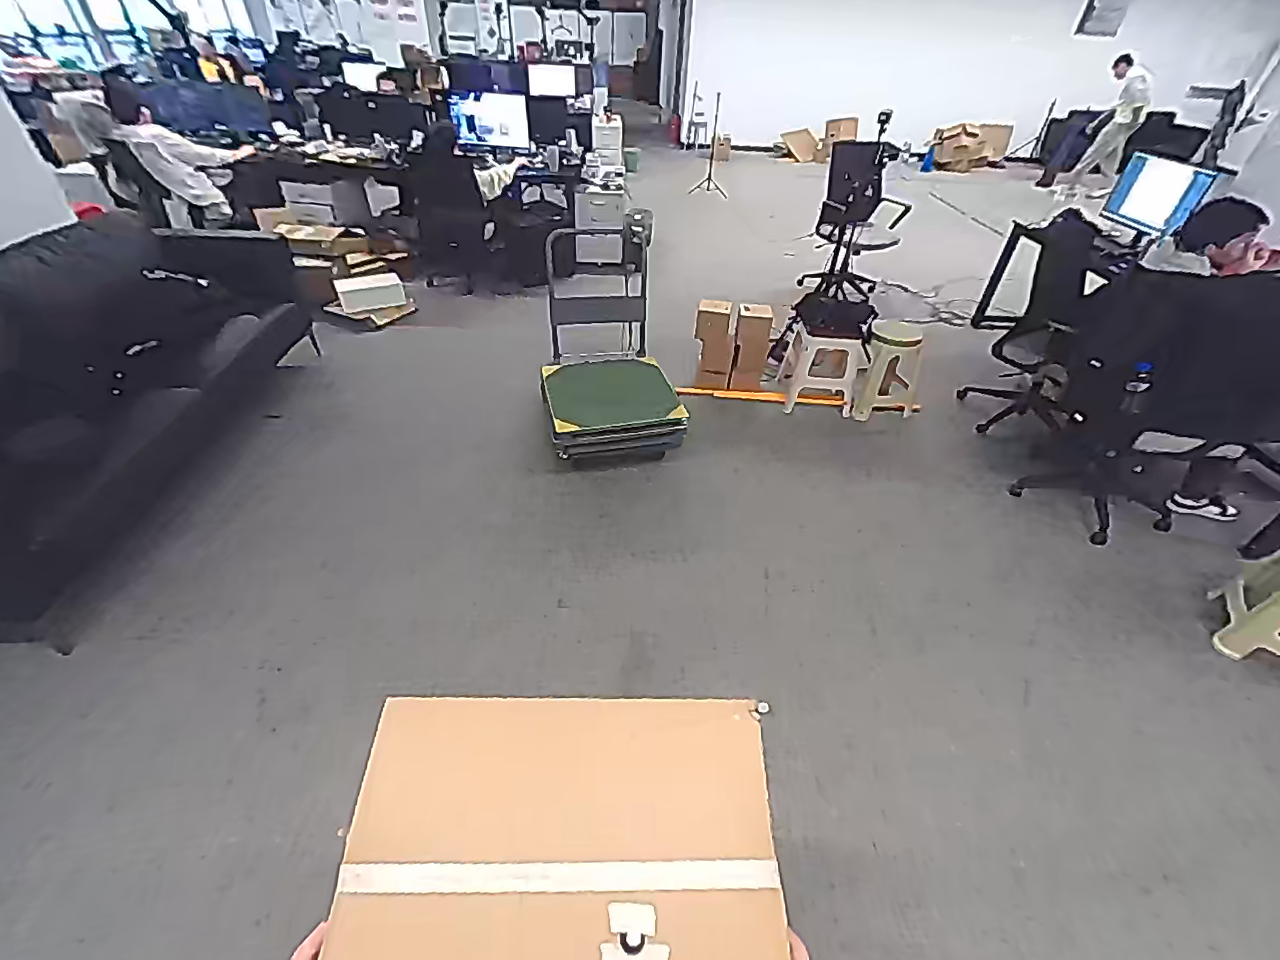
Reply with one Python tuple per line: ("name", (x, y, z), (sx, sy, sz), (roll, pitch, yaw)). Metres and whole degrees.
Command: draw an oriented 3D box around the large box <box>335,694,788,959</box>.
("large box", (-0.076, 0.453, 0.631), (0.408, 0.320, 0.320), (1, 55, -3))
